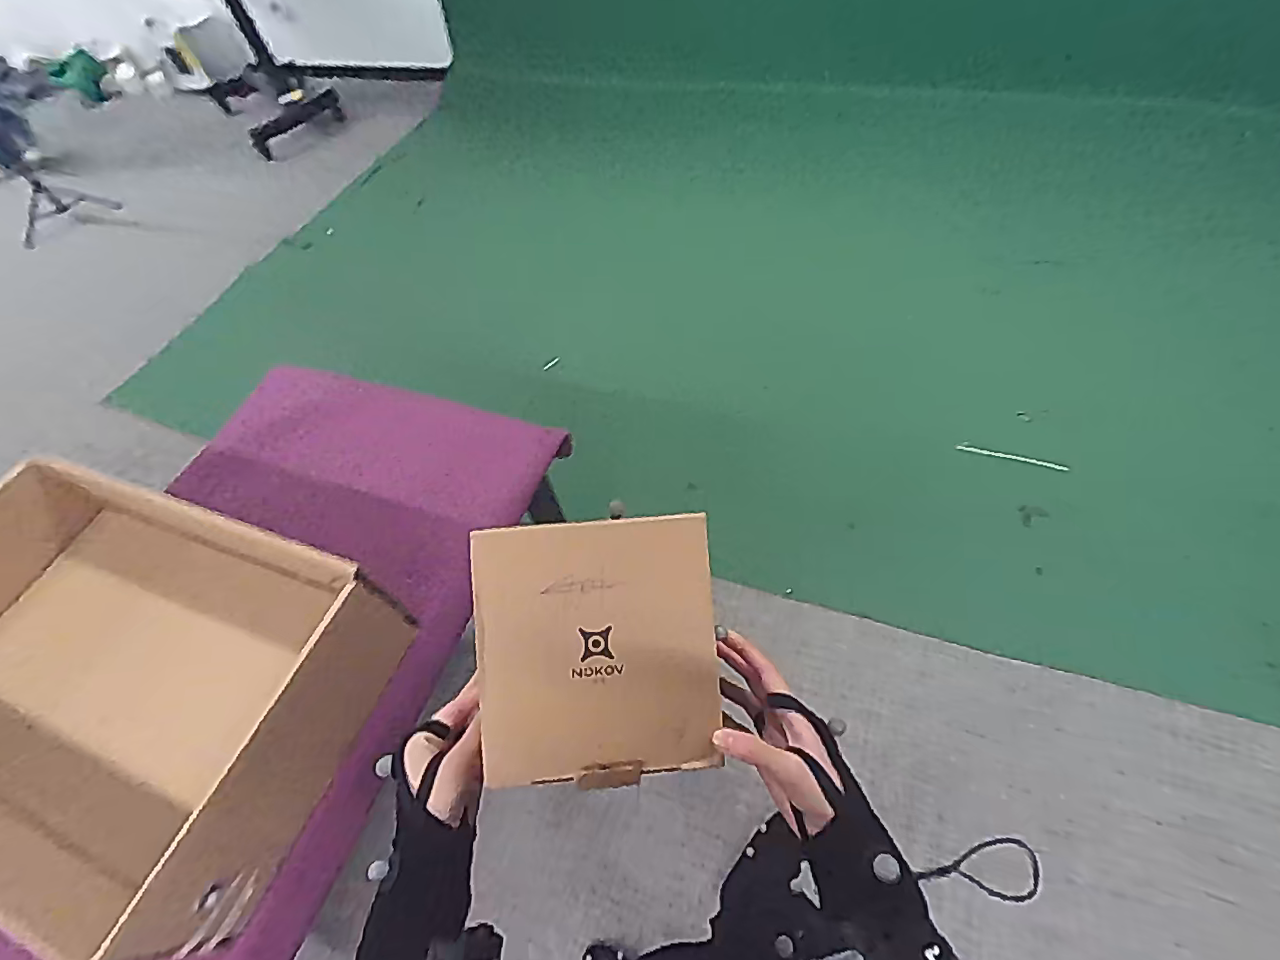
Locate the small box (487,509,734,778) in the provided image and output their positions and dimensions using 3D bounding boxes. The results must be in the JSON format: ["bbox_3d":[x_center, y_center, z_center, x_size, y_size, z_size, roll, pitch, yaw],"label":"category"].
[{"bbox_3d":[-0.021,0.114,0.448,0.168,0.176,0.179,-3,86,-2],"label":"small box"}]
